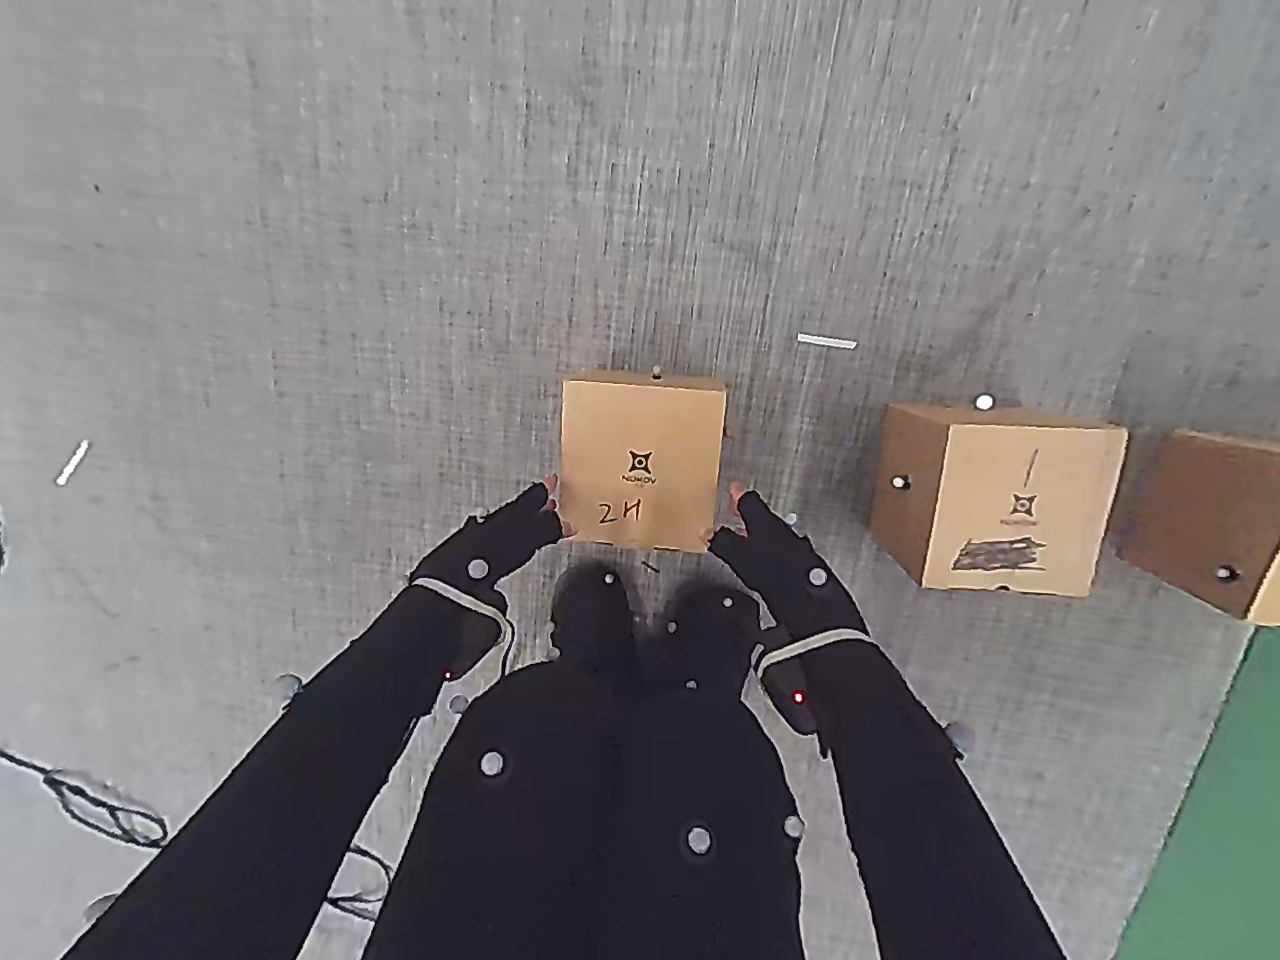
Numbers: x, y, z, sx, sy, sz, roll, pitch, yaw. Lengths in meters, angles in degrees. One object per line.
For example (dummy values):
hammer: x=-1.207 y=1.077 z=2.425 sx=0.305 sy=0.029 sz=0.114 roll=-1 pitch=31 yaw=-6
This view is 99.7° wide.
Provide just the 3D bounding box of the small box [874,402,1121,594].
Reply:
small box: x=0.385 y=0.010 z=0.622 sx=0.168 sy=0.176 sz=0.179 roll=3 pitch=104 yaw=4

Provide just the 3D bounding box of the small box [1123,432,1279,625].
small box: x=0.706 y=0.050 z=0.605 sx=0.168 sy=0.176 sz=0.179 roll=8 pitch=106 yaw=4

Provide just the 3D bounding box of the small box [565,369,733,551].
small box: x=0.013 y=-0.035 z=0.642 sx=0.168 sy=0.176 sz=0.179 roll=6 pitch=106 yaw=5
